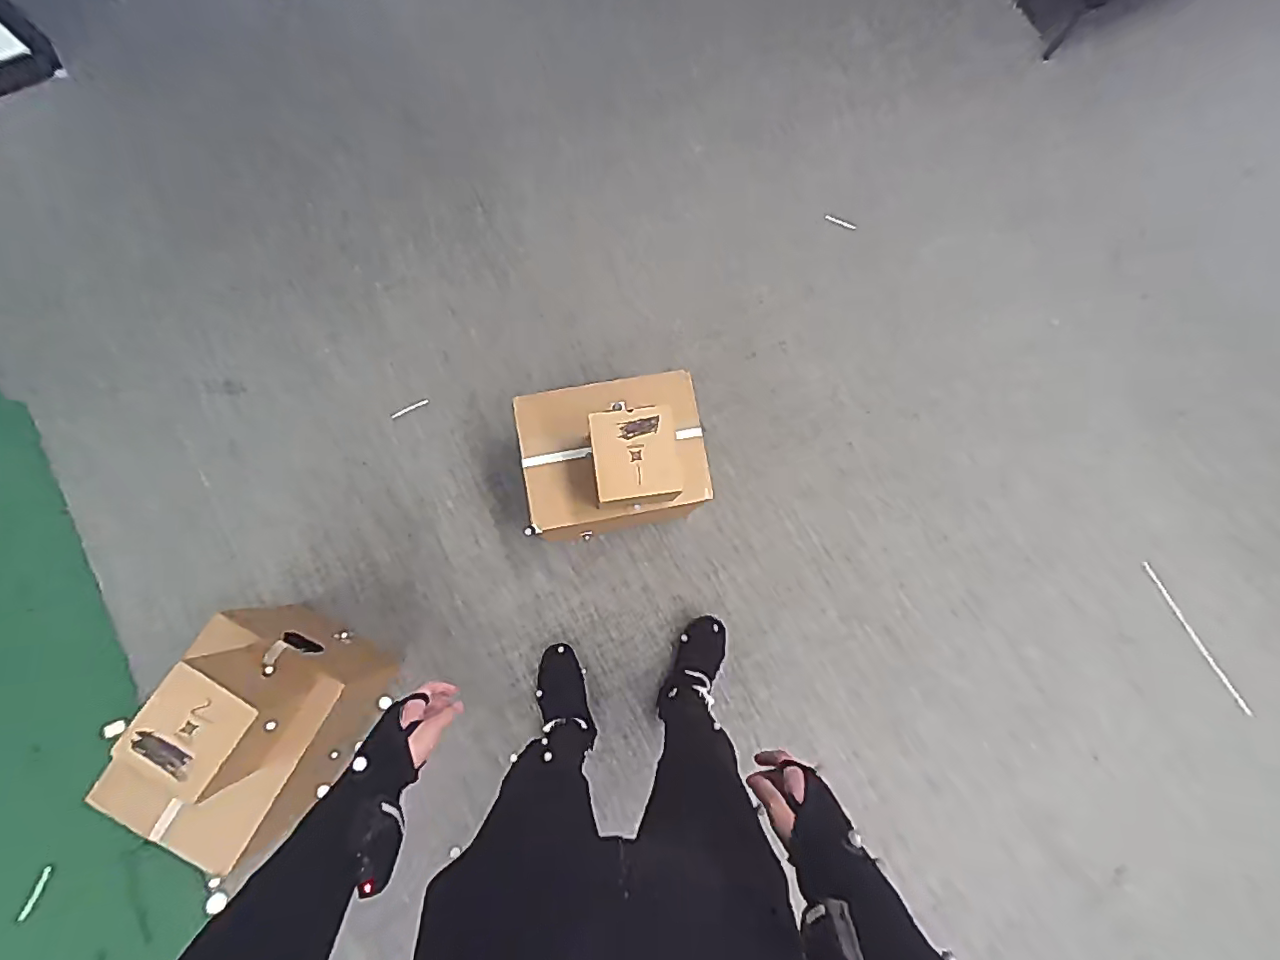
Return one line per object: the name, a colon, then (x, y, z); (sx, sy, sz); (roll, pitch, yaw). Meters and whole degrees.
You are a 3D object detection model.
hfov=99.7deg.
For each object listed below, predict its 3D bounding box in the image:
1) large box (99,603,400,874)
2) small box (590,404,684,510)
large box: (-0.820, 0.529, 1.206); (0.320, 0.320, 0.408); (28, 80, 3)
small box: (-0.013, -0.041, 1.106); (0.168, 0.176, 0.179); (-7, 82, -5)
